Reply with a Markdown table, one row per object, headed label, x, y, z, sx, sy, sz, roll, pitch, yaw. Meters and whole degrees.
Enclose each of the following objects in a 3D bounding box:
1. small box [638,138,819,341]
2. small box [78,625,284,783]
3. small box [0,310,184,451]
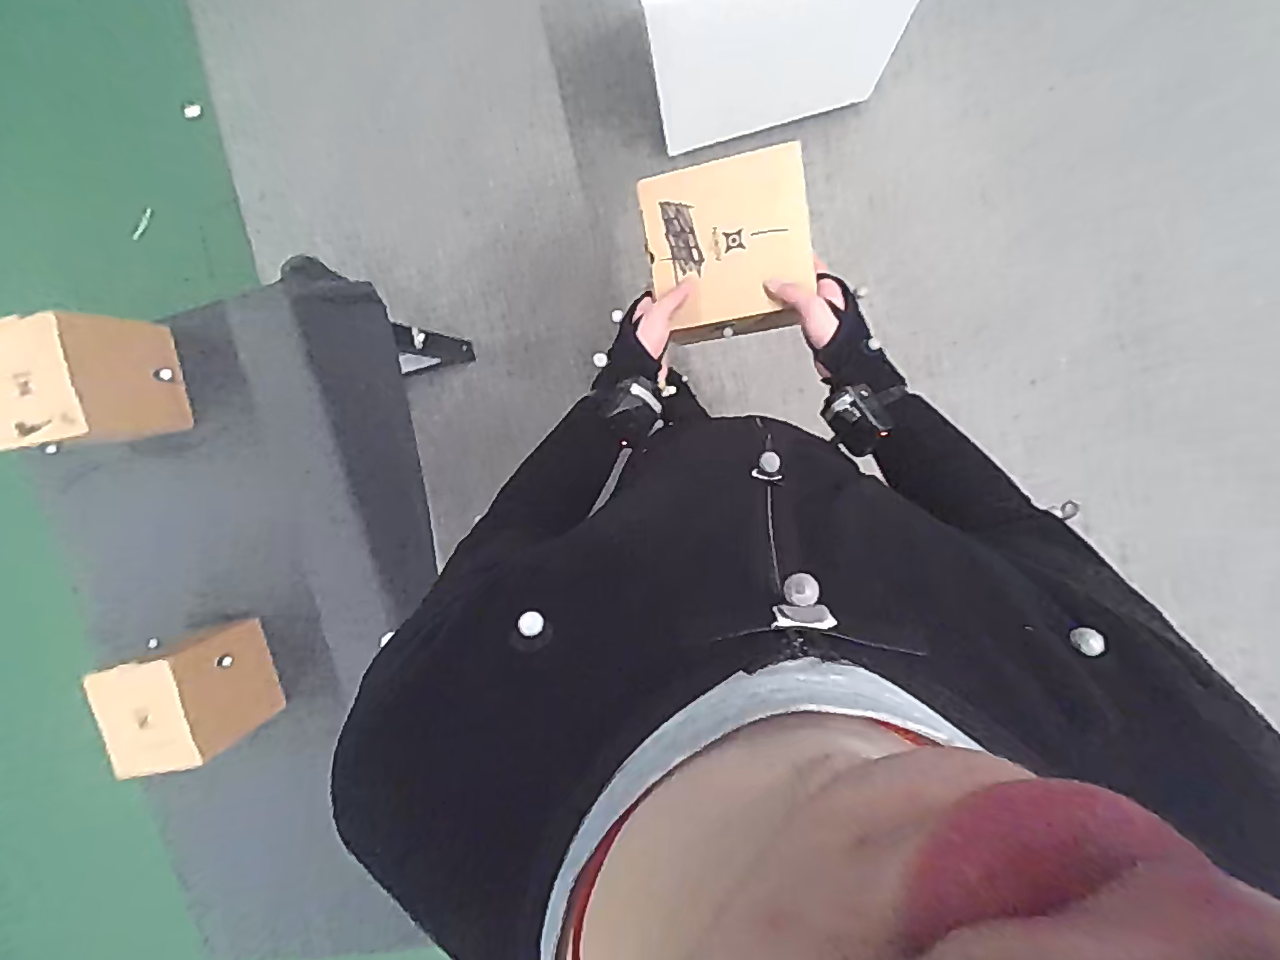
| label | x | y | z | sx | sy | sz | roll | pitch | yaw |
| --- | --- | --- | --- | --- | --- | --- | --- | --- | --- |
| small box | 0.106 | -0.268 | 0.649 | 0.179 | 0.176 | 0.168 | -7 | 98 | 10 |
| small box | -0.740 | 0.356 | 0.891 | 0.168 | 0.176 | 0.179 | -13 | 98 | 9 |
| small box | -0.858 | -0.144 | 0.825 | 0.168 | 0.176 | 0.179 | -9 | 97 | 7 |
